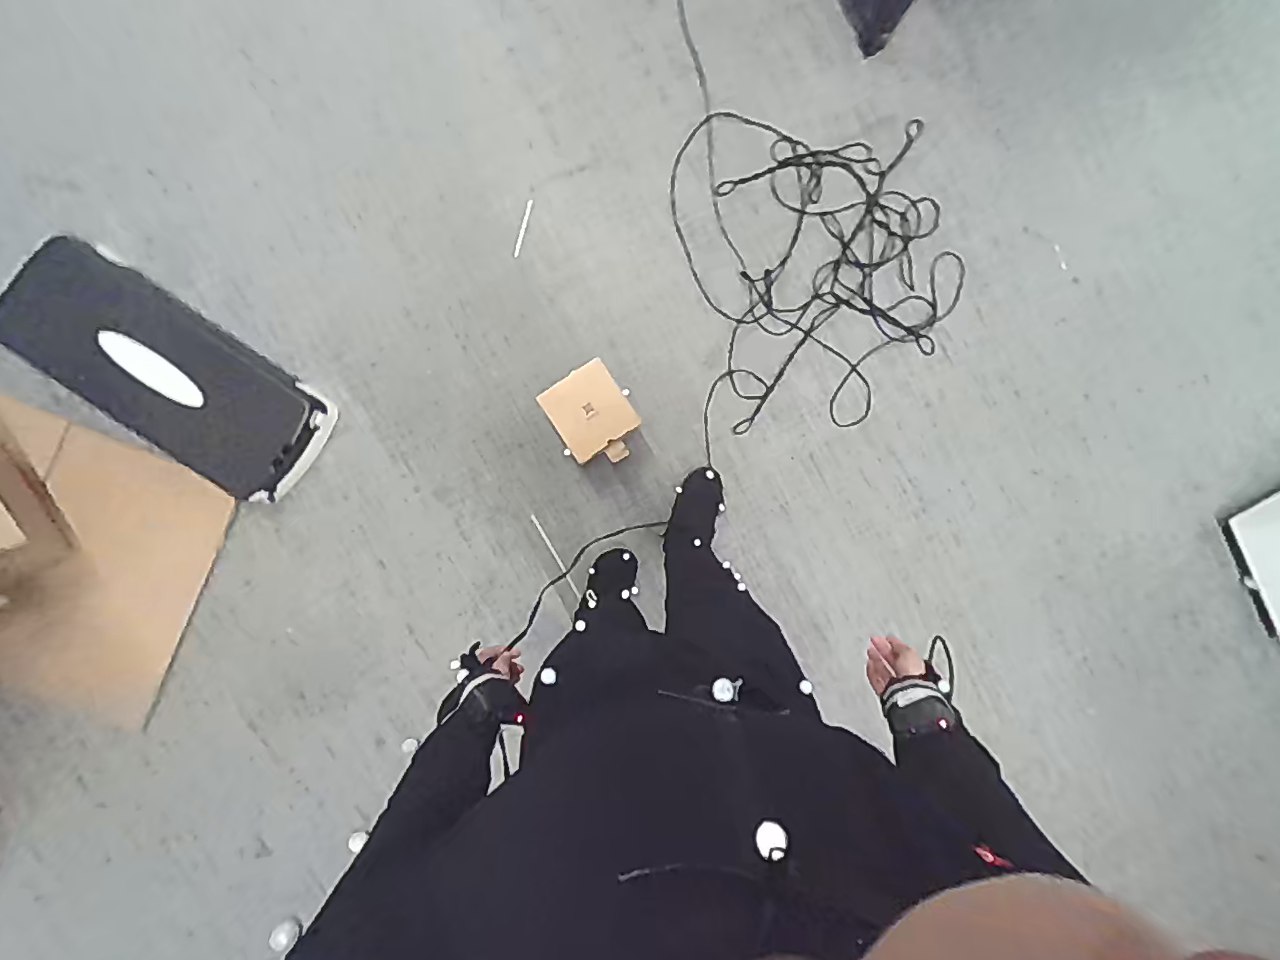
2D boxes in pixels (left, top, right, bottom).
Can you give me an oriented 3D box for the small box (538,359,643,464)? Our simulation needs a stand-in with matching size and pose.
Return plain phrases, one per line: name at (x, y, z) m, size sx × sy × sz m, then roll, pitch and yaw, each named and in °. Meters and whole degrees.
small box at (-0.116, -0.146, 1.240) m, size 0.168 × 0.176 × 0.179 m, roll -35°, pitch 94°, yaw -4°
